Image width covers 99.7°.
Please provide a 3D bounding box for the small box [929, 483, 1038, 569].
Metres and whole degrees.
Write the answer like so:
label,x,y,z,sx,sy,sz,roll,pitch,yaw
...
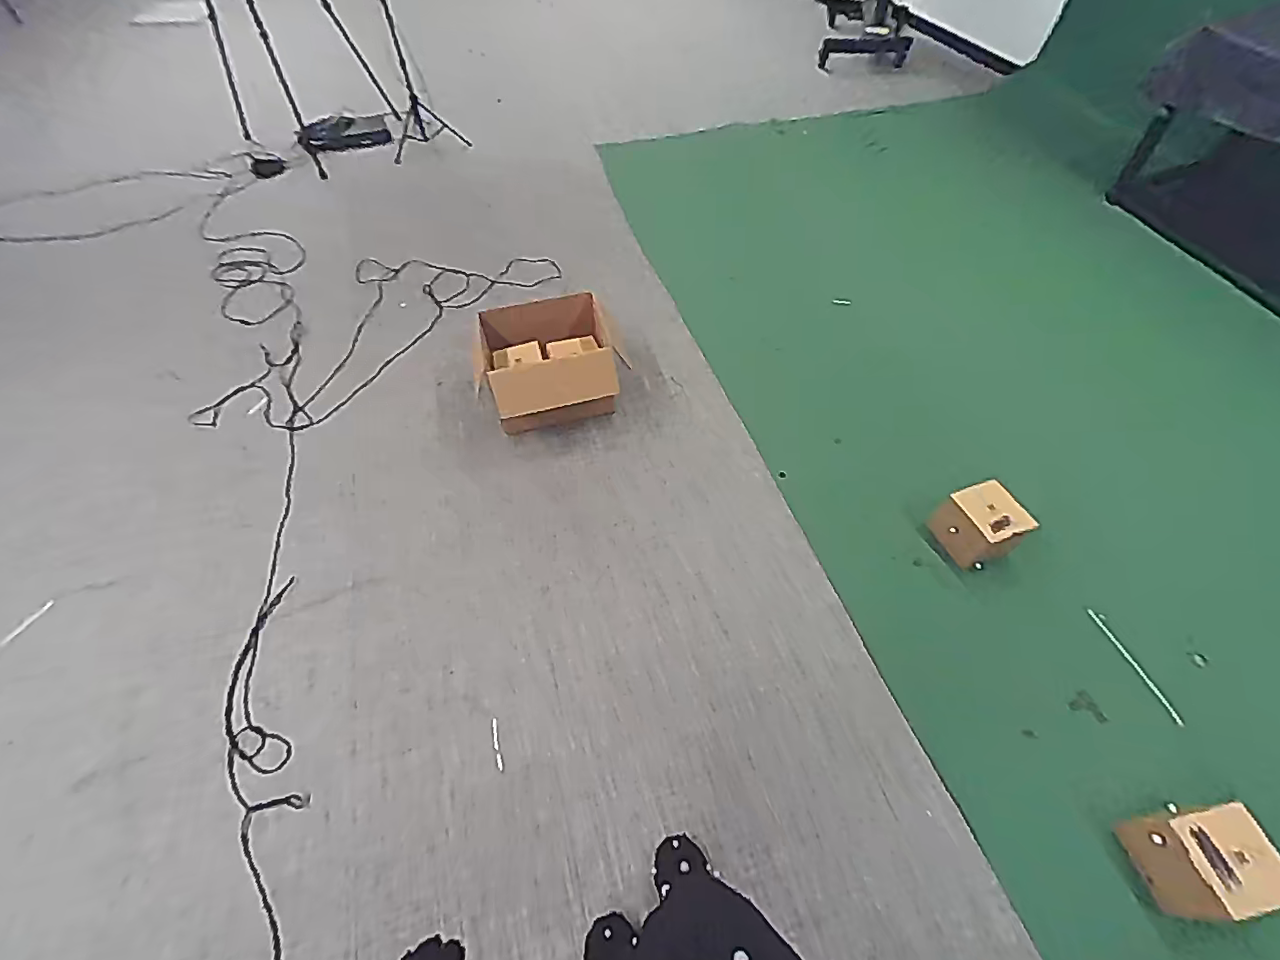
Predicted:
label,x,y,z,sx,sy,sz,roll,pitch,yaw
small box,0.997,0.143,1.585,0.168,0.176,0.179,-16,55,-11
